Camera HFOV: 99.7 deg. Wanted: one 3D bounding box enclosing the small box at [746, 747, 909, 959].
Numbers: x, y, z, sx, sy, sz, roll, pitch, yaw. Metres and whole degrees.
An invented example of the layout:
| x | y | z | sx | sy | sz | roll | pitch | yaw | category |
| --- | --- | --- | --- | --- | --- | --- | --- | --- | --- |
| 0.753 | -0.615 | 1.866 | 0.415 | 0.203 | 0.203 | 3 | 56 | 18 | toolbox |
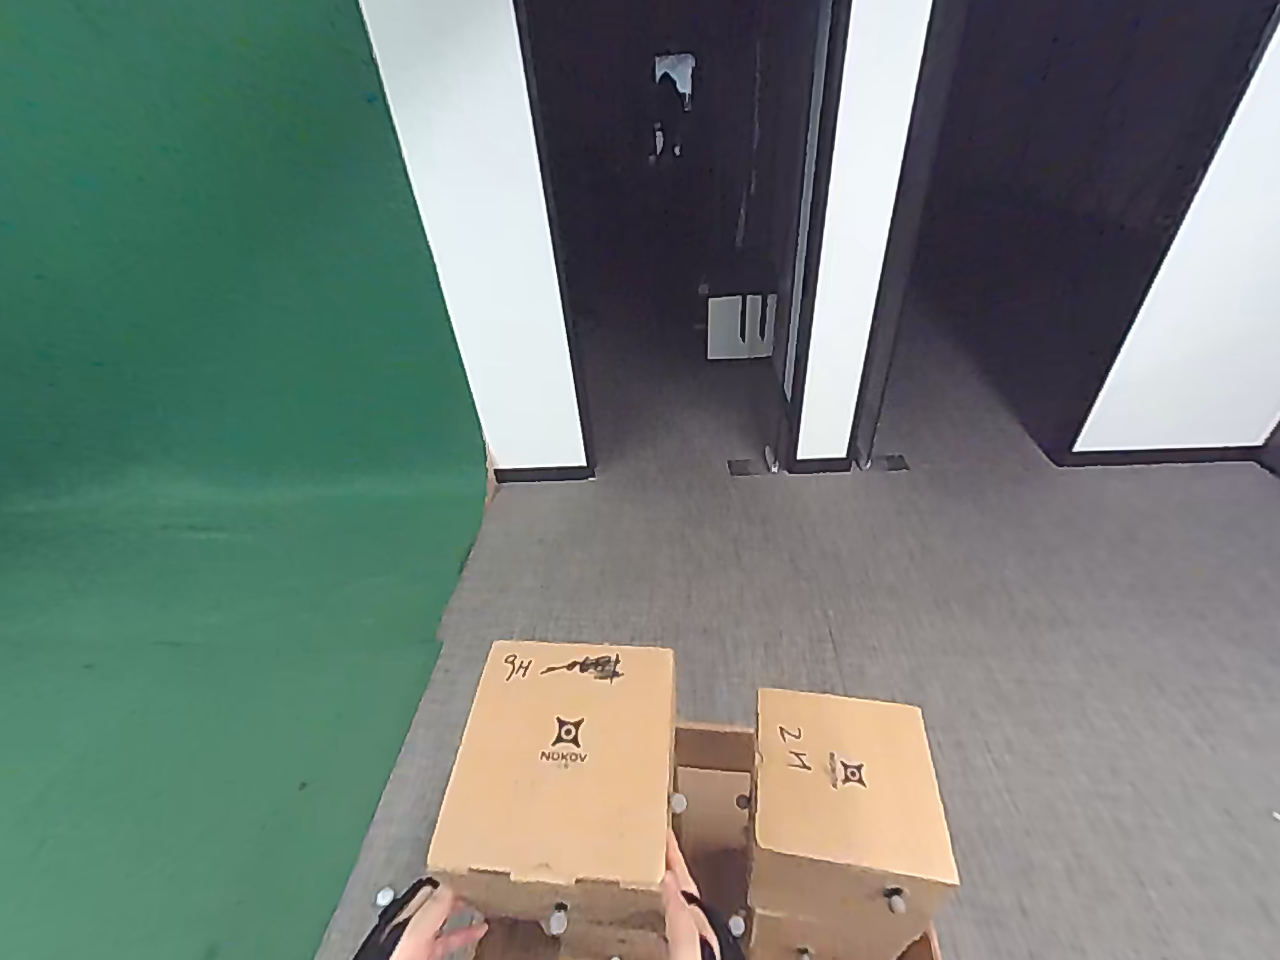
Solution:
| x | y | z | sx | sy | sz | roll | pitch | yaw | category |
| --- | --- | --- | --- | --- | --- | --- | --- | --- | --- |
| 0.224 | 0.477 | 0.692 | 0.168 | 0.176 | 0.179 | 2 | 39 | 11 | small box |

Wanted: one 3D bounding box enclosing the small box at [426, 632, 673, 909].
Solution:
| x | y | z | sx | sy | sz | roll | pitch | yaw | category |
| --- | --- | --- | --- | --- | --- | --- | --- | --- | --- |
| -0.058 | 0.259 | 0.484 | 0.168 | 0.176 | 0.179 | 1 | 44 | 6 | small box |
